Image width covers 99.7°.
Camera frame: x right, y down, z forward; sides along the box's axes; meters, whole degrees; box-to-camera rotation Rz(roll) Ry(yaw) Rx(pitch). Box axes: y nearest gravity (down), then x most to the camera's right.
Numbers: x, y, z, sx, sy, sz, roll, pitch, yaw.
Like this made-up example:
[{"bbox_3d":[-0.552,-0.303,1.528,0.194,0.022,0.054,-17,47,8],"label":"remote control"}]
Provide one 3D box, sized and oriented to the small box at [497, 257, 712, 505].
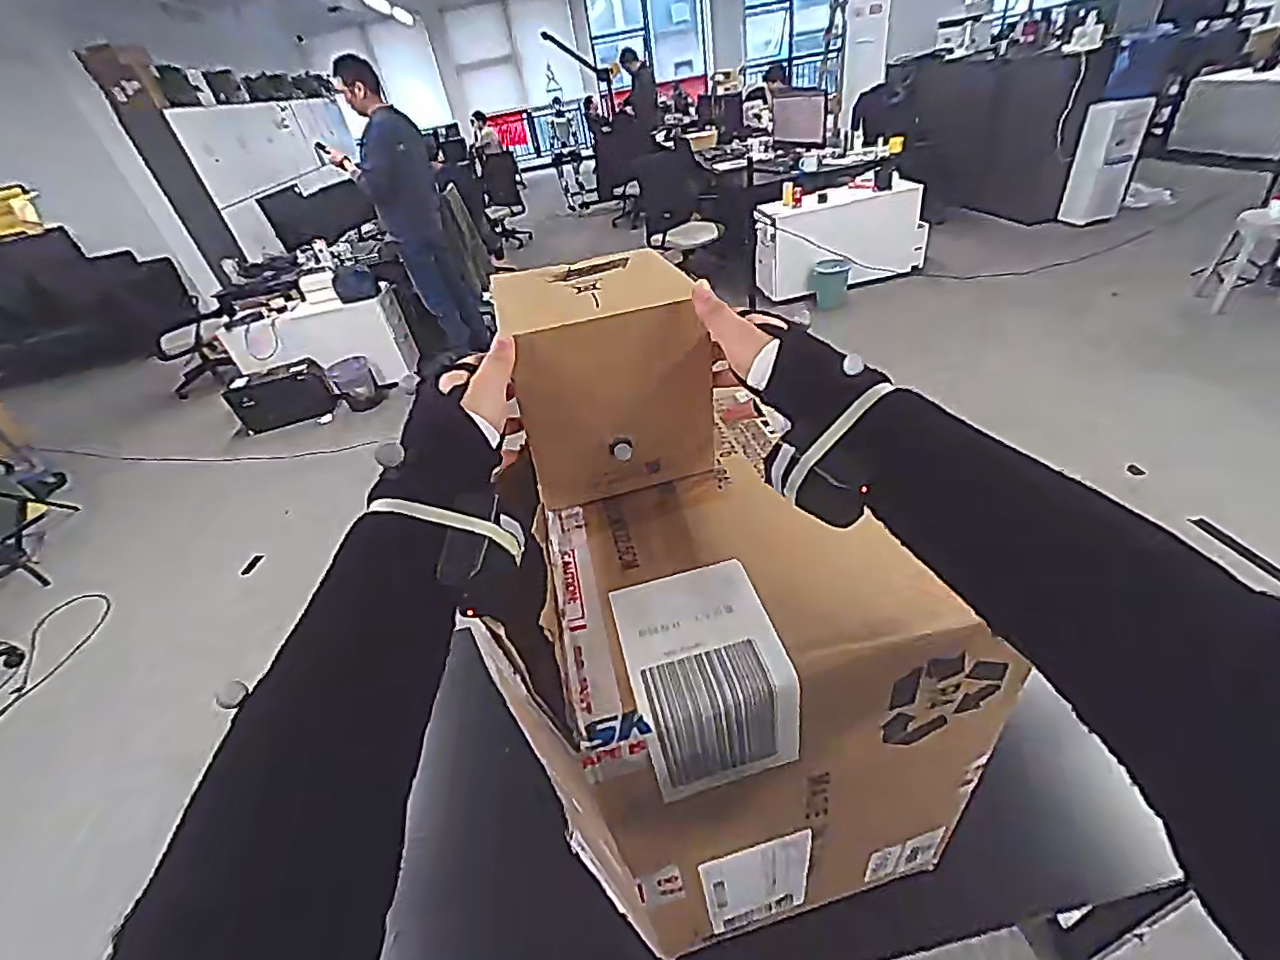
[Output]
[{"bbox_3d":[-0.036,-0.102,0.529,0.168,0.176,0.179,-14,36,-8],"label":"small box"}]
